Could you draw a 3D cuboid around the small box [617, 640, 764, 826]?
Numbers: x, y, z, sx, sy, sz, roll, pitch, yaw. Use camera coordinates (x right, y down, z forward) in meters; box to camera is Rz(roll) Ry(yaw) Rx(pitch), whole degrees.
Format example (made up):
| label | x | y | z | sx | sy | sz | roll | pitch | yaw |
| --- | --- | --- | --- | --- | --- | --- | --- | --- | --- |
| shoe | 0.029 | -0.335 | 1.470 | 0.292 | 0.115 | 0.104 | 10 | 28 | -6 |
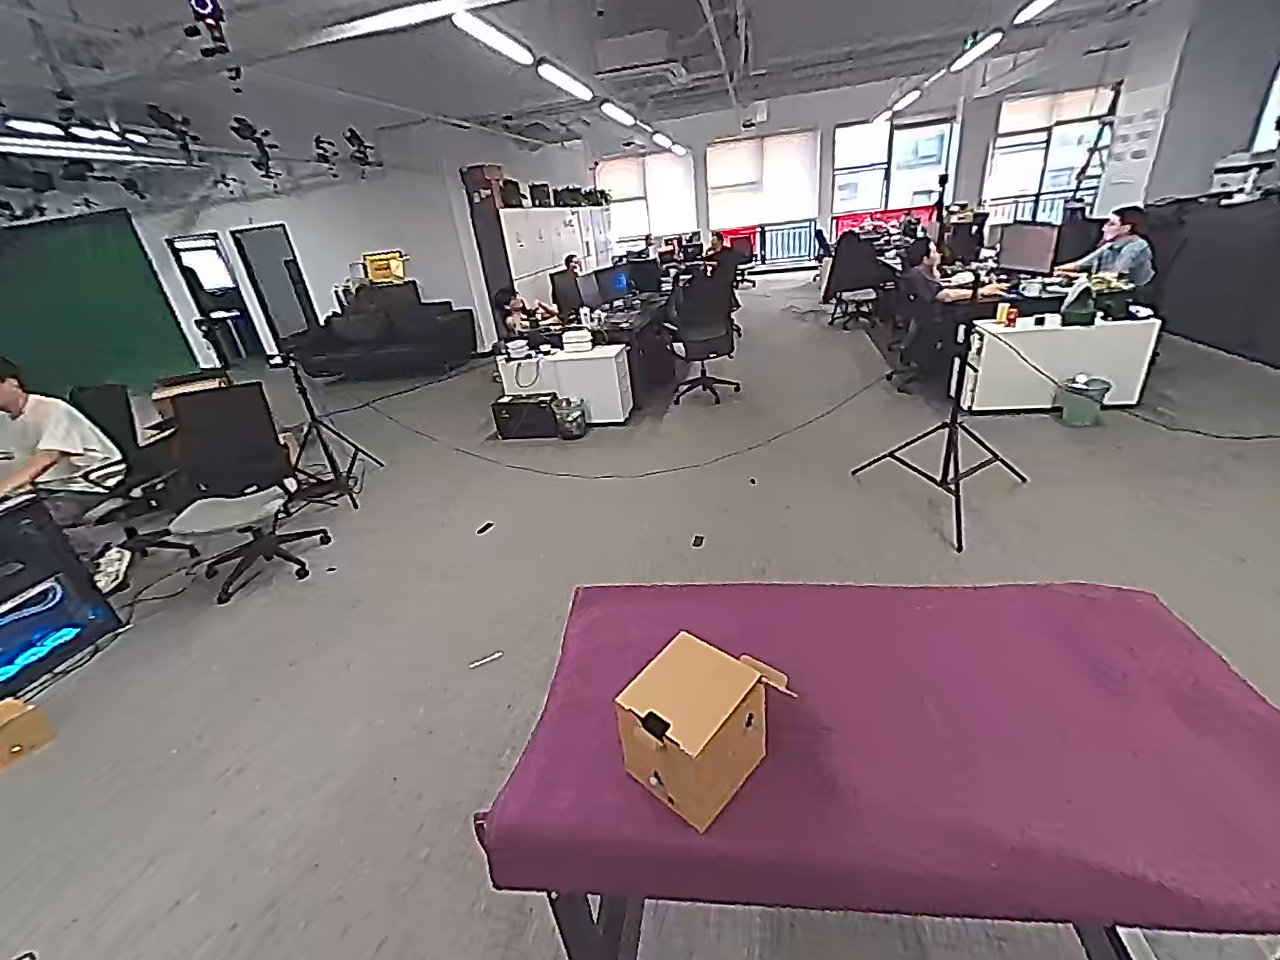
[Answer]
| label | x | y | z | sx | sy | sz | roll | pitch | yaw |
| --- | --- | --- | --- | --- | --- | --- | --- | --- | --- |
| small box | 0.086 | 0.404 | 0.883 | 0.168 | 0.176 | 0.179 | 17 | 34 | 42 |
